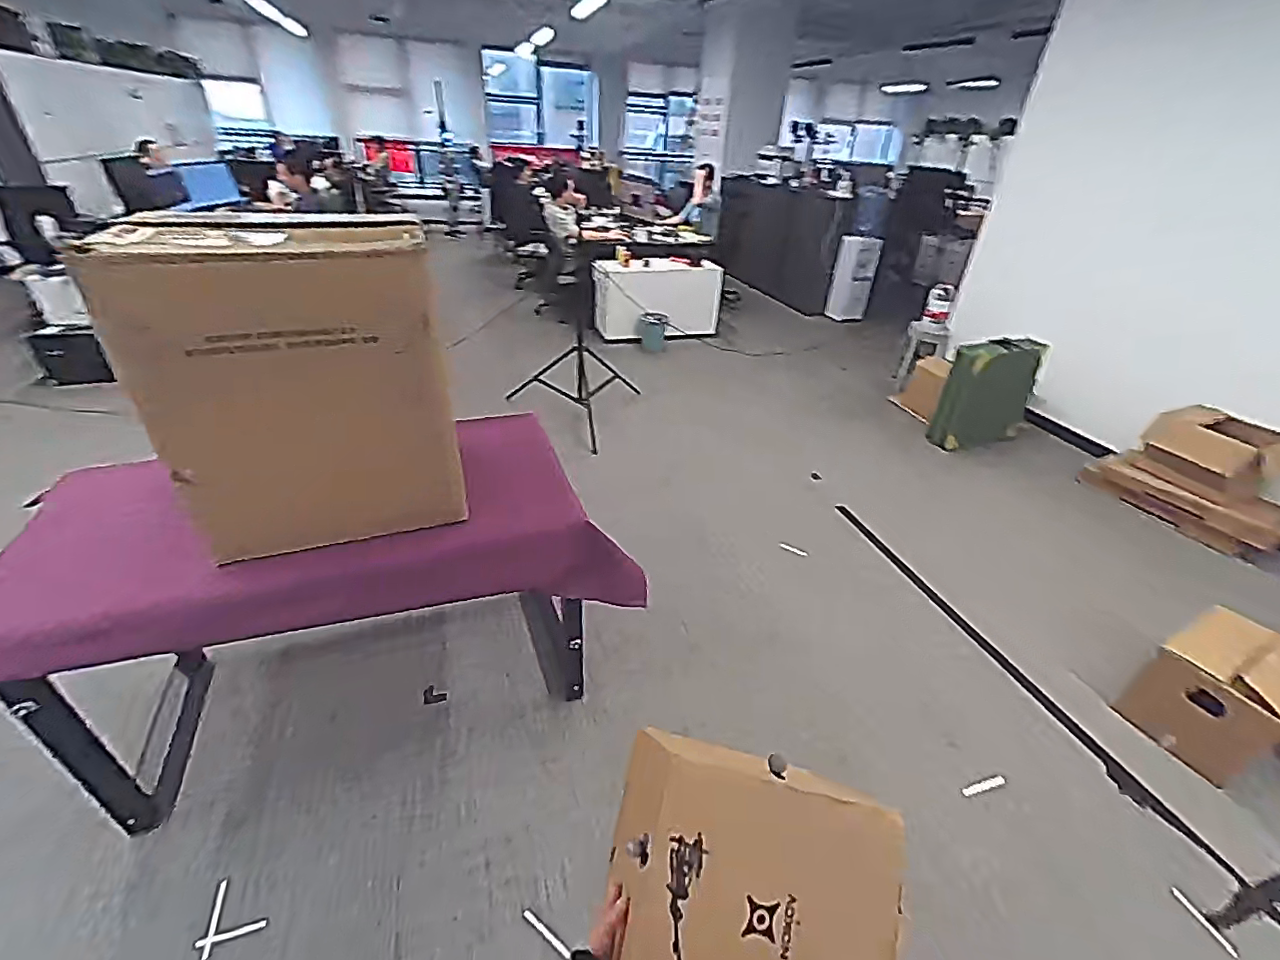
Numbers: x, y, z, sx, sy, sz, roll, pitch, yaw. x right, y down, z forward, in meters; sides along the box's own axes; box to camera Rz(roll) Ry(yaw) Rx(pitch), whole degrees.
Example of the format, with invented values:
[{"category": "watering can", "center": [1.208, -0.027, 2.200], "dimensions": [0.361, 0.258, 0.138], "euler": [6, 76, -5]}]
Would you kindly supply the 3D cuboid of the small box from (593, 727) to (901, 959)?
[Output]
[{"category": "small box", "center": [0.072, 0.305, 0.428], "dimensions": [0.179, 0.176, 0.168], "euler": [17, 69, -4]}]
